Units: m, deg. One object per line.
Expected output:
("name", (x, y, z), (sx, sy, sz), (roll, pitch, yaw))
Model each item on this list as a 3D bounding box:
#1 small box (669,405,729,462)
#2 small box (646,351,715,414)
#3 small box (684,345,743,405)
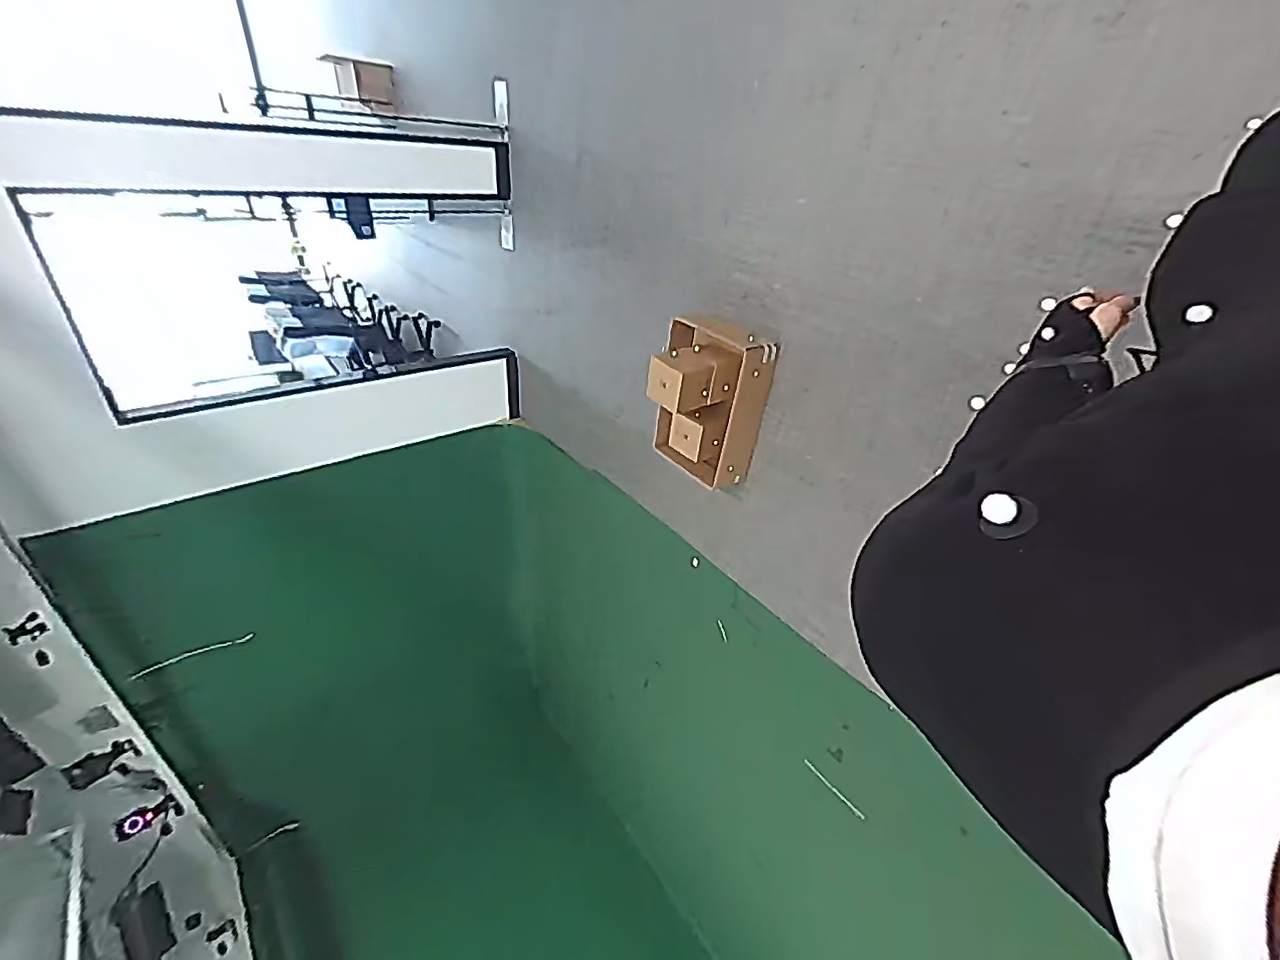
("small box", (0.246, -0.199, 2.246), (0.179, 0.176, 0.168), (36, 131, 38))
("small box", (0.149, -0.369, 2.012), (0.179, 0.176, 0.168), (38, 136, 36))
("small box", (0.277, -0.416, 2.103), (0.179, 0.176, 0.168), (37, 134, 38))
